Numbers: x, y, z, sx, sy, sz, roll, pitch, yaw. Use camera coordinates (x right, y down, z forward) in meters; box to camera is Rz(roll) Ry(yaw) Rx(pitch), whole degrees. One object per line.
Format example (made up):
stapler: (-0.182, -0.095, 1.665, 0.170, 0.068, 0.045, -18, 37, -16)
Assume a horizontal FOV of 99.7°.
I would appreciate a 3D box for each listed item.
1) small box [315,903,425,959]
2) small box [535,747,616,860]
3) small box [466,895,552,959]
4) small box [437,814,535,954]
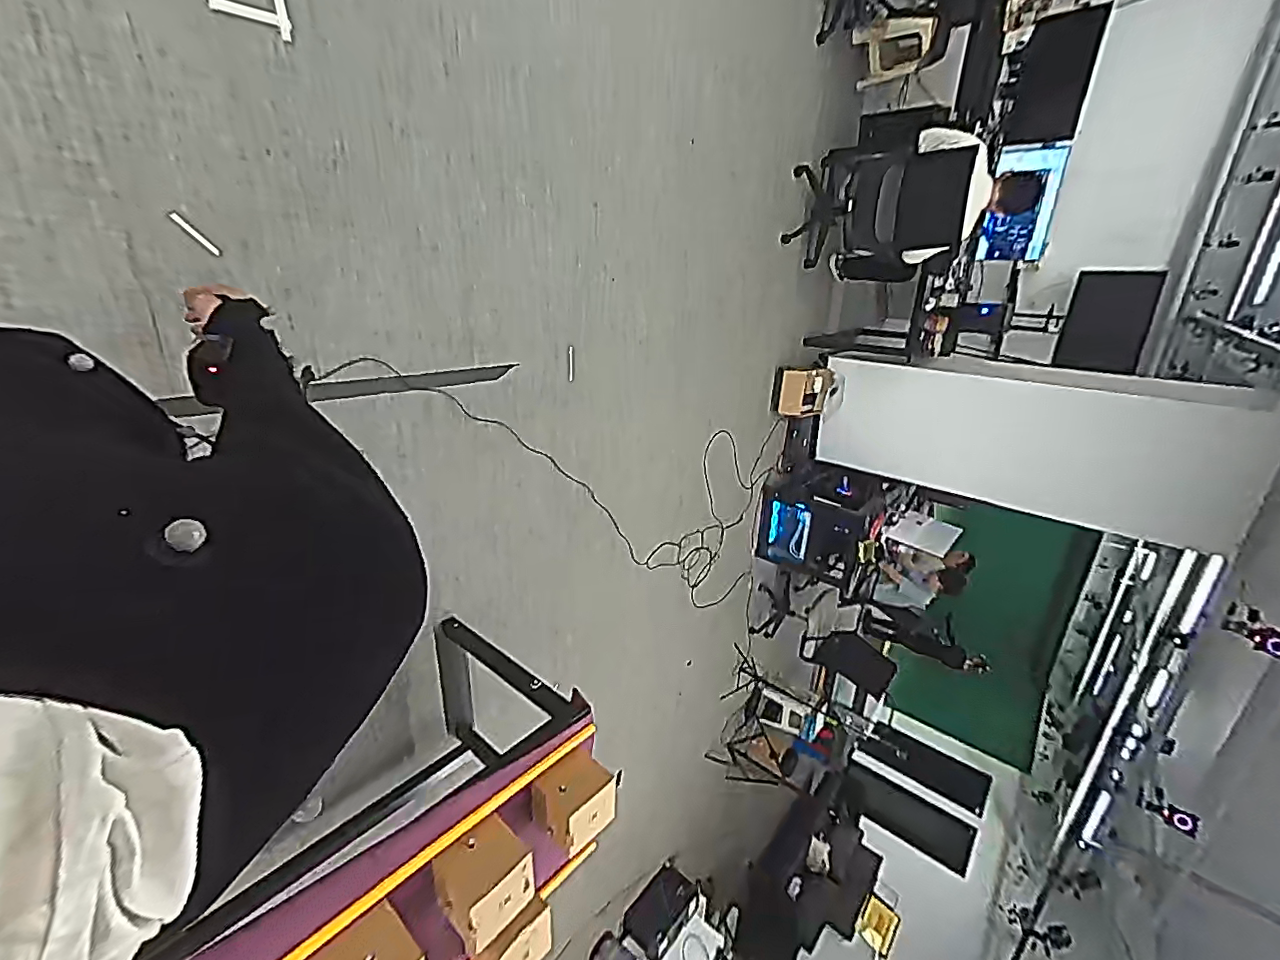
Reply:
small box: (-0.565, 1.048, 1.118, 0.179, 0.176, 0.168, -18, 120, -48)
small box: (-0.187, 0.908, 1.535, 0.179, 0.176, 0.168, -20, 120, -44)
small box: (-0.354, 1.213, 1.453, 0.168, 0.176, 0.179, -20, 118, -47)
small box: (-0.380, 0.976, 1.322, 0.179, 0.176, 0.168, -21, 121, -45)
